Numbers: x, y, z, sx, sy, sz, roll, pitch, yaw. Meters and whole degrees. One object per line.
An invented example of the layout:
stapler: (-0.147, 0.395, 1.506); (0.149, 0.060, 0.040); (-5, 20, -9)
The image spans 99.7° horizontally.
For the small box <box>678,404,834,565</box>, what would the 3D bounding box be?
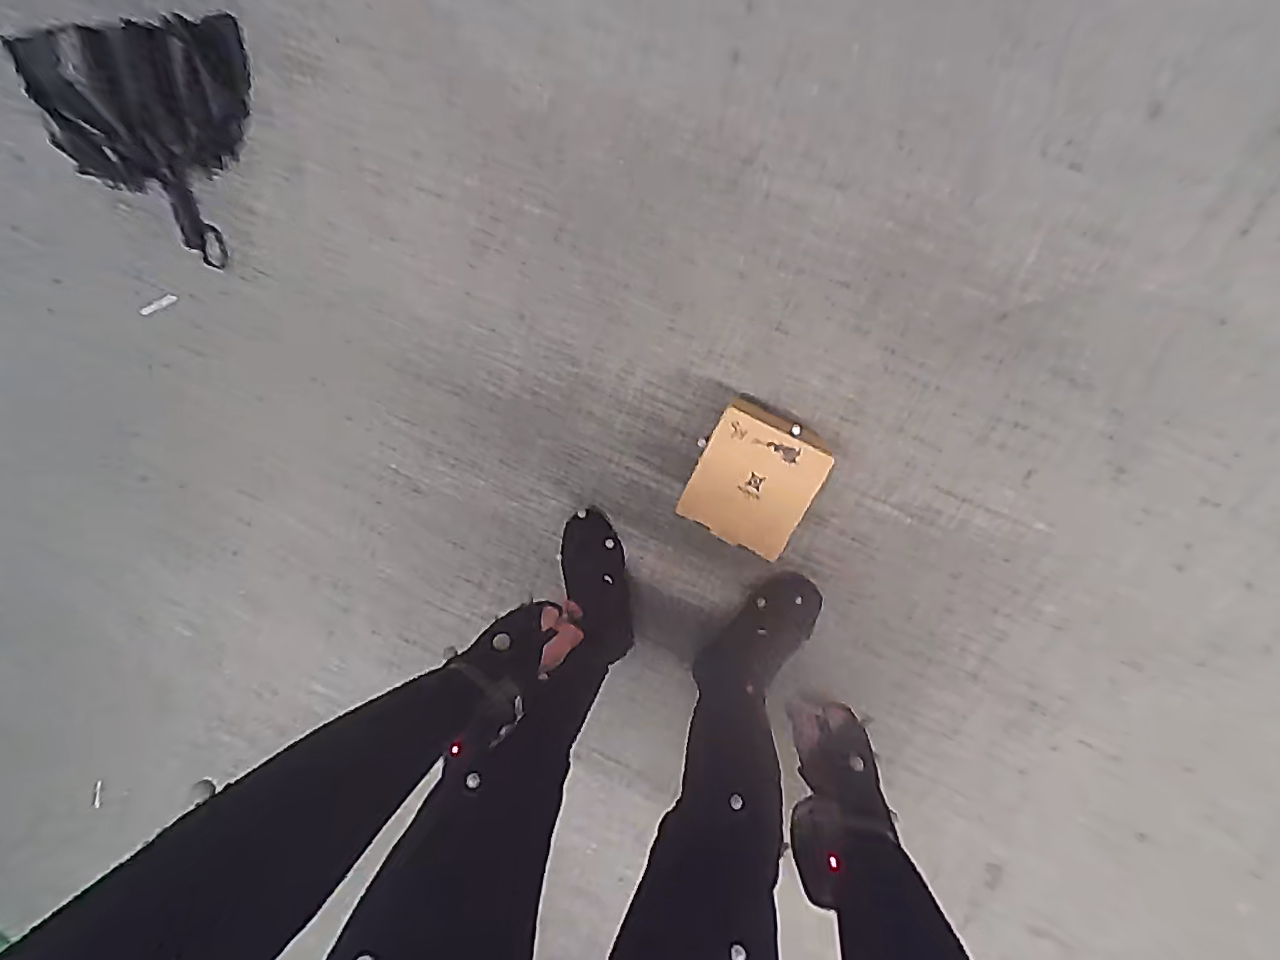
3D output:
small box: (0.180, -0.002, 0.846); (0.168, 0.176, 0.179); (27, 108, 5)
